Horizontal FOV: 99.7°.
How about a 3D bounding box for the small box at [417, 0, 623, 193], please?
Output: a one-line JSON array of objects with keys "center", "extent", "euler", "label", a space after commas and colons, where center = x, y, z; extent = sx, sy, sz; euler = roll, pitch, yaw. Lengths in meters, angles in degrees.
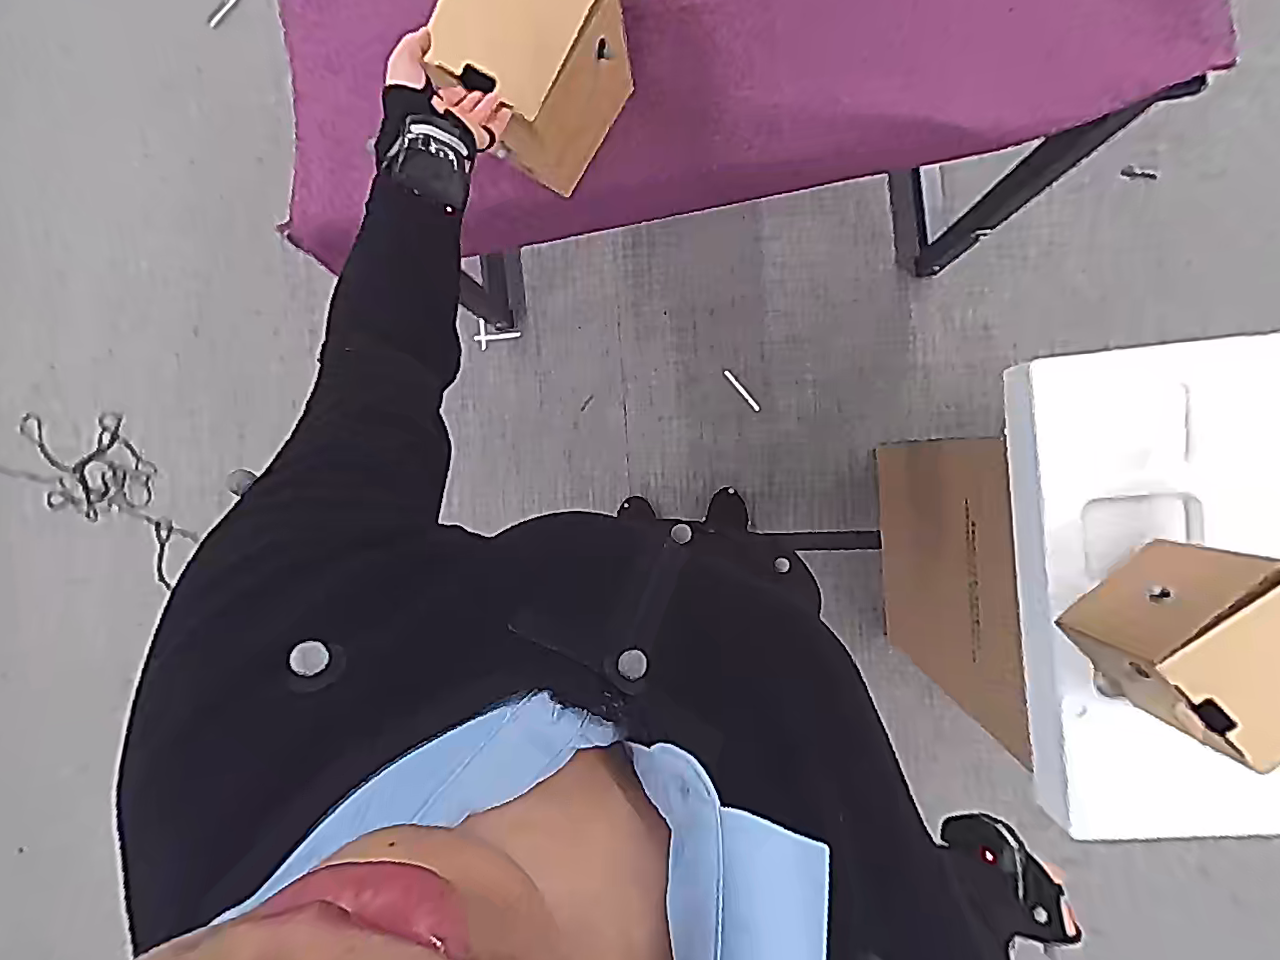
[{"center": [-0.134, -0.512, 0.681], "extent": [0.168, 0.176, 0.179], "euler": [33, 93, 5], "label": "small box"}]
